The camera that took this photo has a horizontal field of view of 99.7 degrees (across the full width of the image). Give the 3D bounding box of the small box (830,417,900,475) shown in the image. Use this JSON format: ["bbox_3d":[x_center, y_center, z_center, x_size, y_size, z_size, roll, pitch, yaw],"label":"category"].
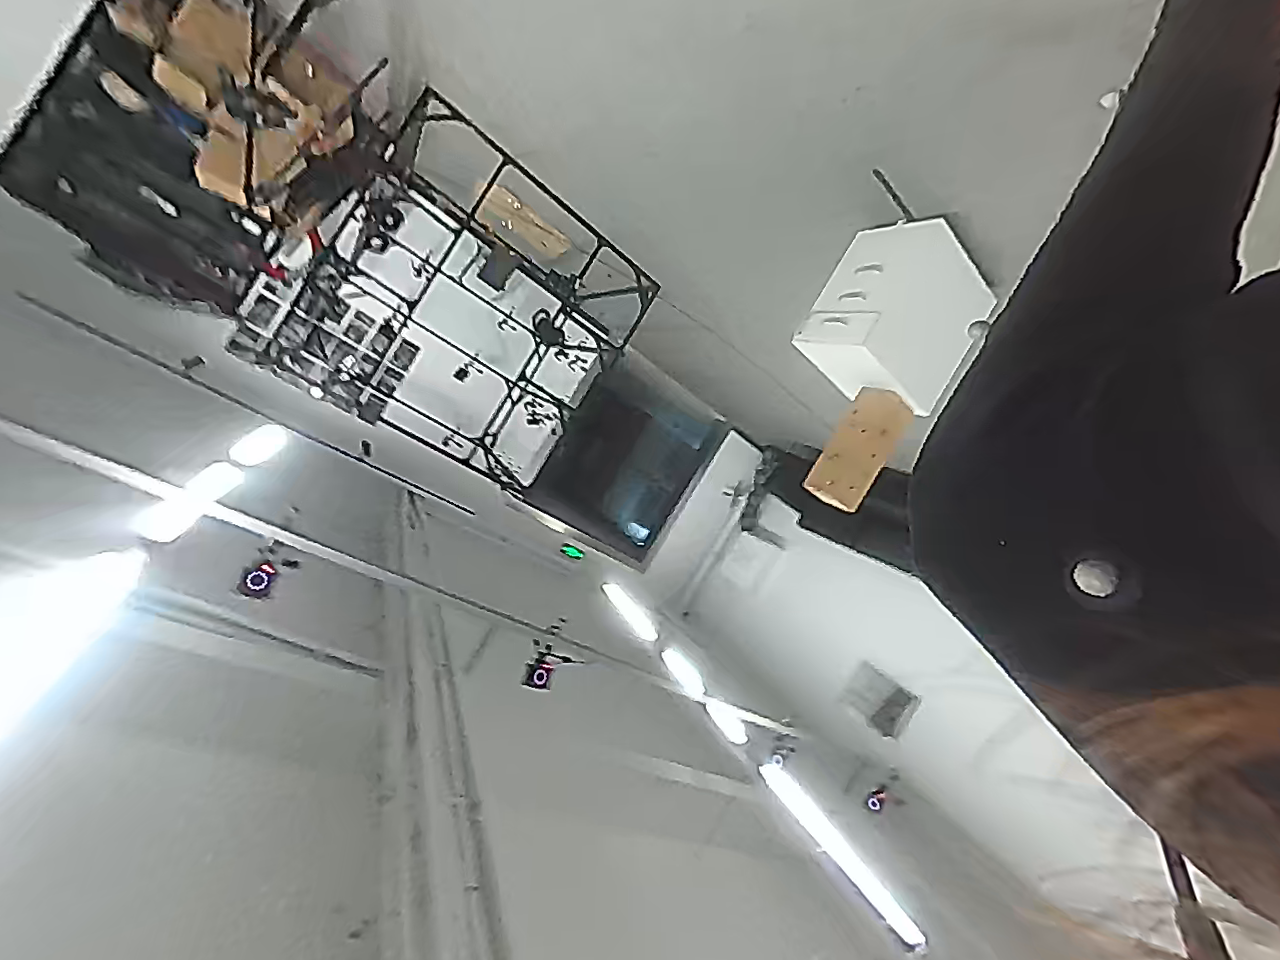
[{"bbox_3d":[0.951,-0.149,2.281,0.179,0.176,0.168,30,-178,-30],"label":"small box"}]

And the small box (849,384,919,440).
[{"bbox_3d":[1.033,-0.292,2.283,0.168,0.176,0.179,30,-179,-29],"label":"small box"}]
